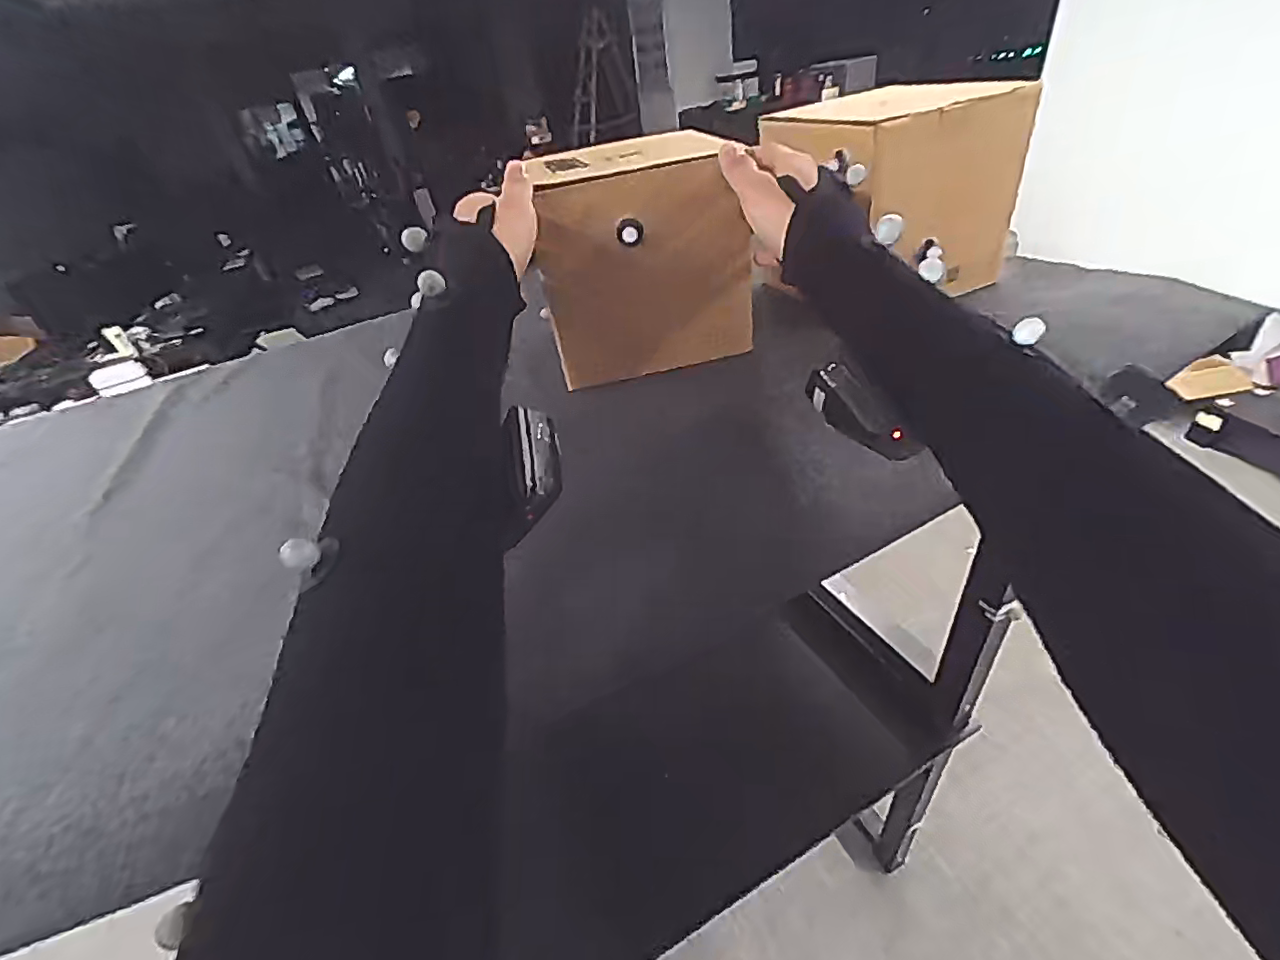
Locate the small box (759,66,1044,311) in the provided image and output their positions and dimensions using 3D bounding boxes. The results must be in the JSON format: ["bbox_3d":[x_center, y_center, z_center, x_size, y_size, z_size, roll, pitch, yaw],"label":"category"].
[{"bbox_3d":[0.230,-0.283,0.529,0.168,0.176,0.179,-20,39,-12],"label":"small box"}]

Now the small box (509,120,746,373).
[{"bbox_3d":[-0.011,-0.215,0.500,0.179,0.176,0.168,-13,38,-4],"label":"small box"}]
